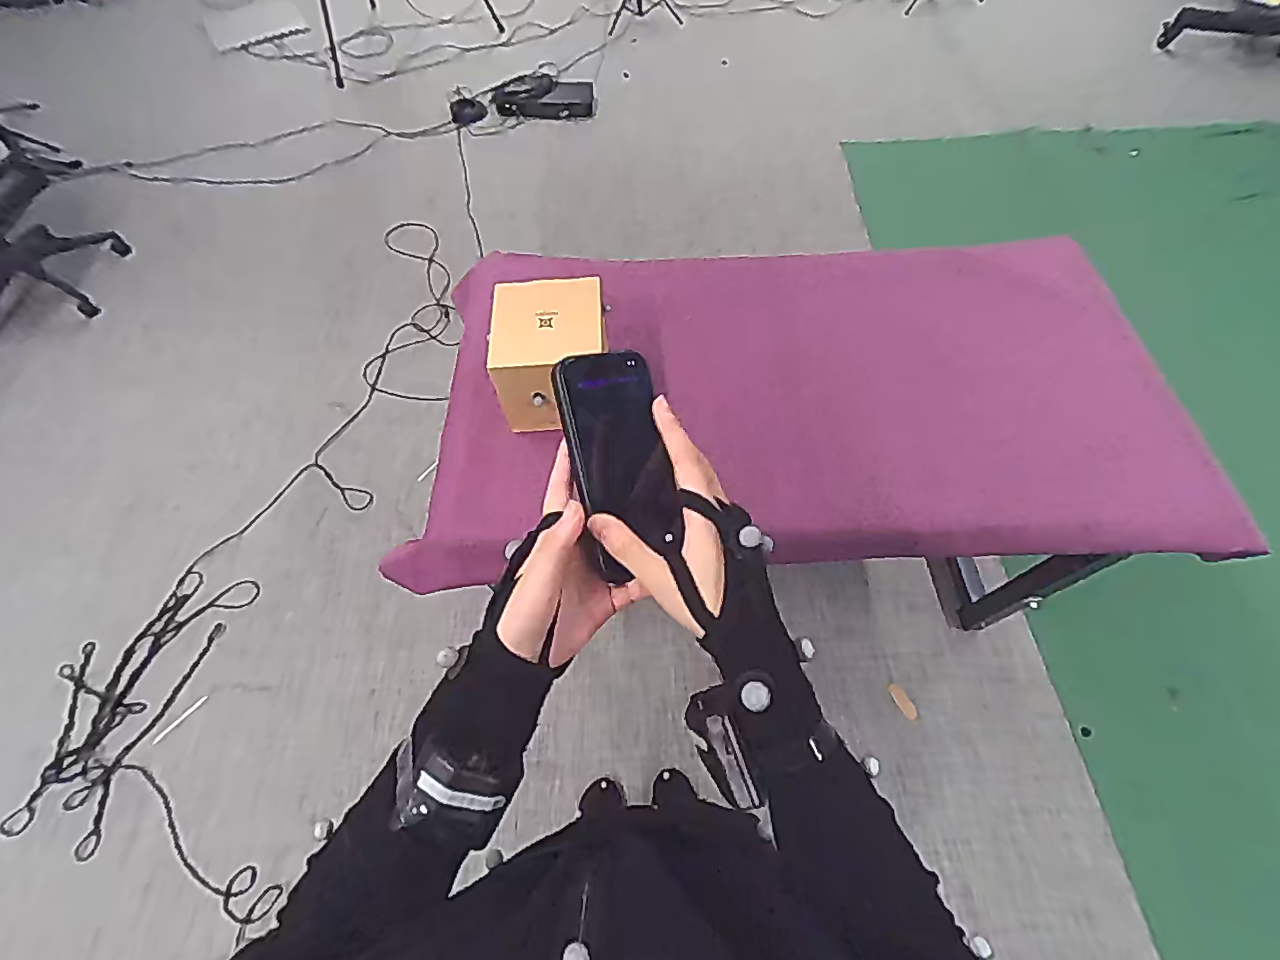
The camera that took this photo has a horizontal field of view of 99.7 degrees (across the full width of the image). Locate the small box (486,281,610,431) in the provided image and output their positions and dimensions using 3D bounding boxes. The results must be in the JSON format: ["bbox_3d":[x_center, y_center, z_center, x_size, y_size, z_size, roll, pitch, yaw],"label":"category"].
[{"bbox_3d":[-0.138,-0.190,0.872,0.168,0.176,0.179,-4,59,0],"label":"small box"}]
